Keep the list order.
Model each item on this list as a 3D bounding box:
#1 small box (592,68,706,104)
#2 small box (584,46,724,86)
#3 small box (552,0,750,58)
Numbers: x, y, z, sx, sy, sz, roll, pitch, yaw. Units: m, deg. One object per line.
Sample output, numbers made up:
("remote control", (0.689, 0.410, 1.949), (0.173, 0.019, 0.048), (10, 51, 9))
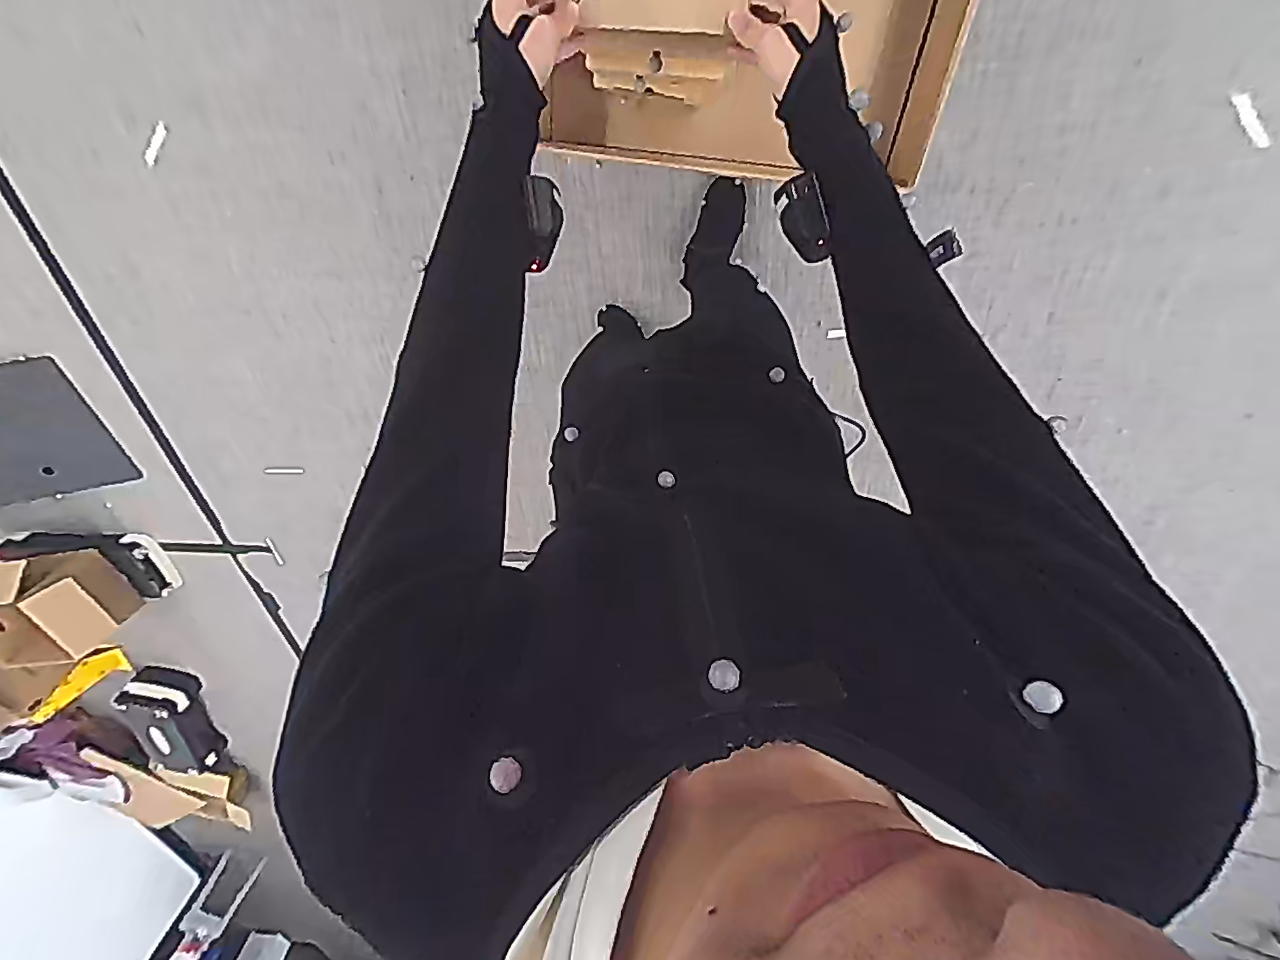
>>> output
("small box", (0.030, -0.673, 0.797), (0.168, 0.176, 0.179), (9, 122, -1))
("small box", (0.029, -0.595, 0.654), (0.168, 0.176, 0.179), (6, 122, 1))
("small box", (0.017, -0.517, 0.511), (0.179, 0.176, 0.168), (5, 121, 1))
